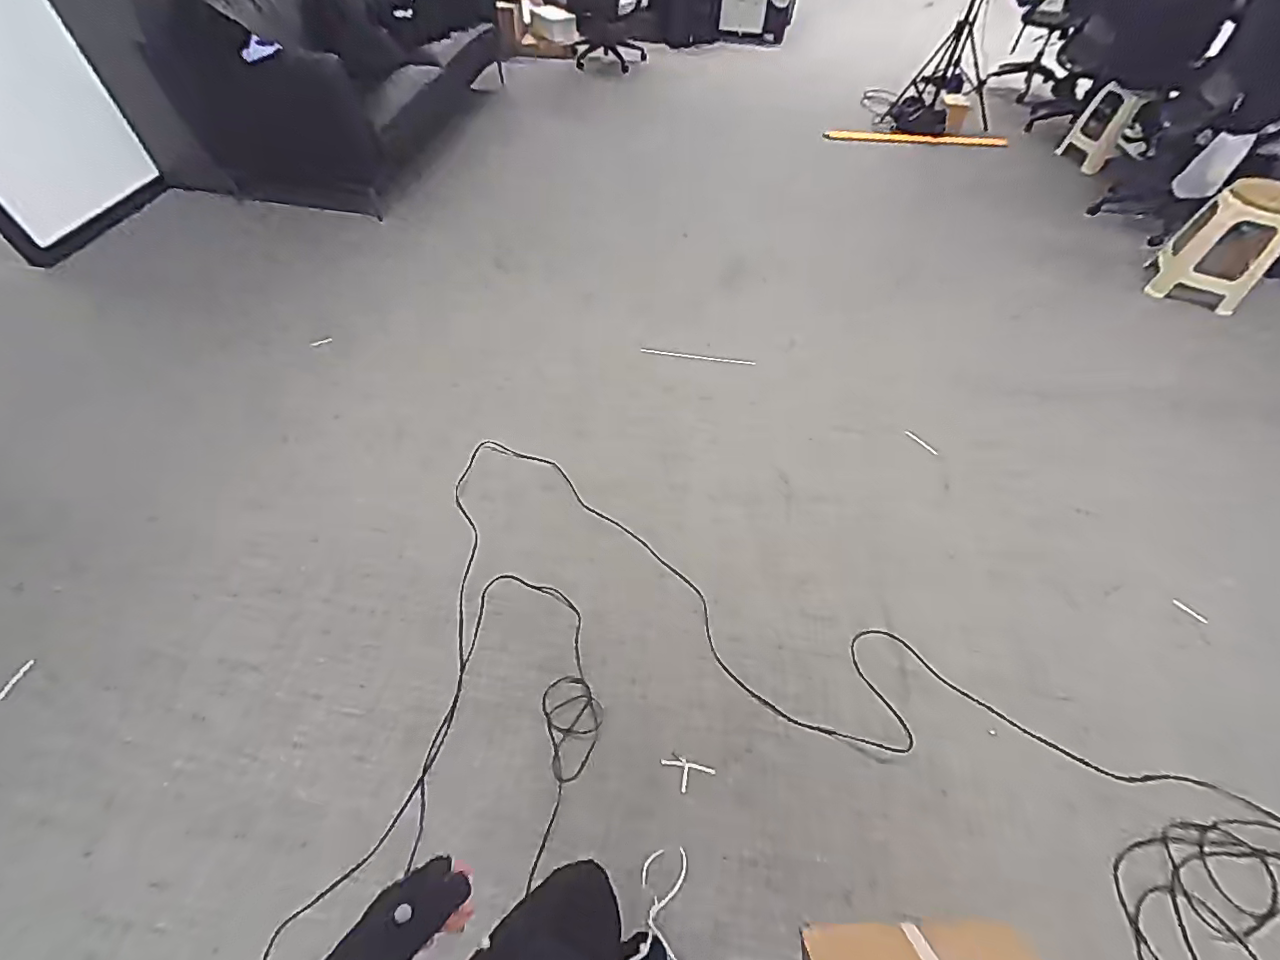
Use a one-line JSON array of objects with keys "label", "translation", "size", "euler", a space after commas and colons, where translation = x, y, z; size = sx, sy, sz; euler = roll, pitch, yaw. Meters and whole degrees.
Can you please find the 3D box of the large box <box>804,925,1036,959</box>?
[{"label": "large box", "translation": [0.400, 0.805, 0.596], "size": [0.320, 0.408, 0.320], "euler": [-1, 86, 1]}]
